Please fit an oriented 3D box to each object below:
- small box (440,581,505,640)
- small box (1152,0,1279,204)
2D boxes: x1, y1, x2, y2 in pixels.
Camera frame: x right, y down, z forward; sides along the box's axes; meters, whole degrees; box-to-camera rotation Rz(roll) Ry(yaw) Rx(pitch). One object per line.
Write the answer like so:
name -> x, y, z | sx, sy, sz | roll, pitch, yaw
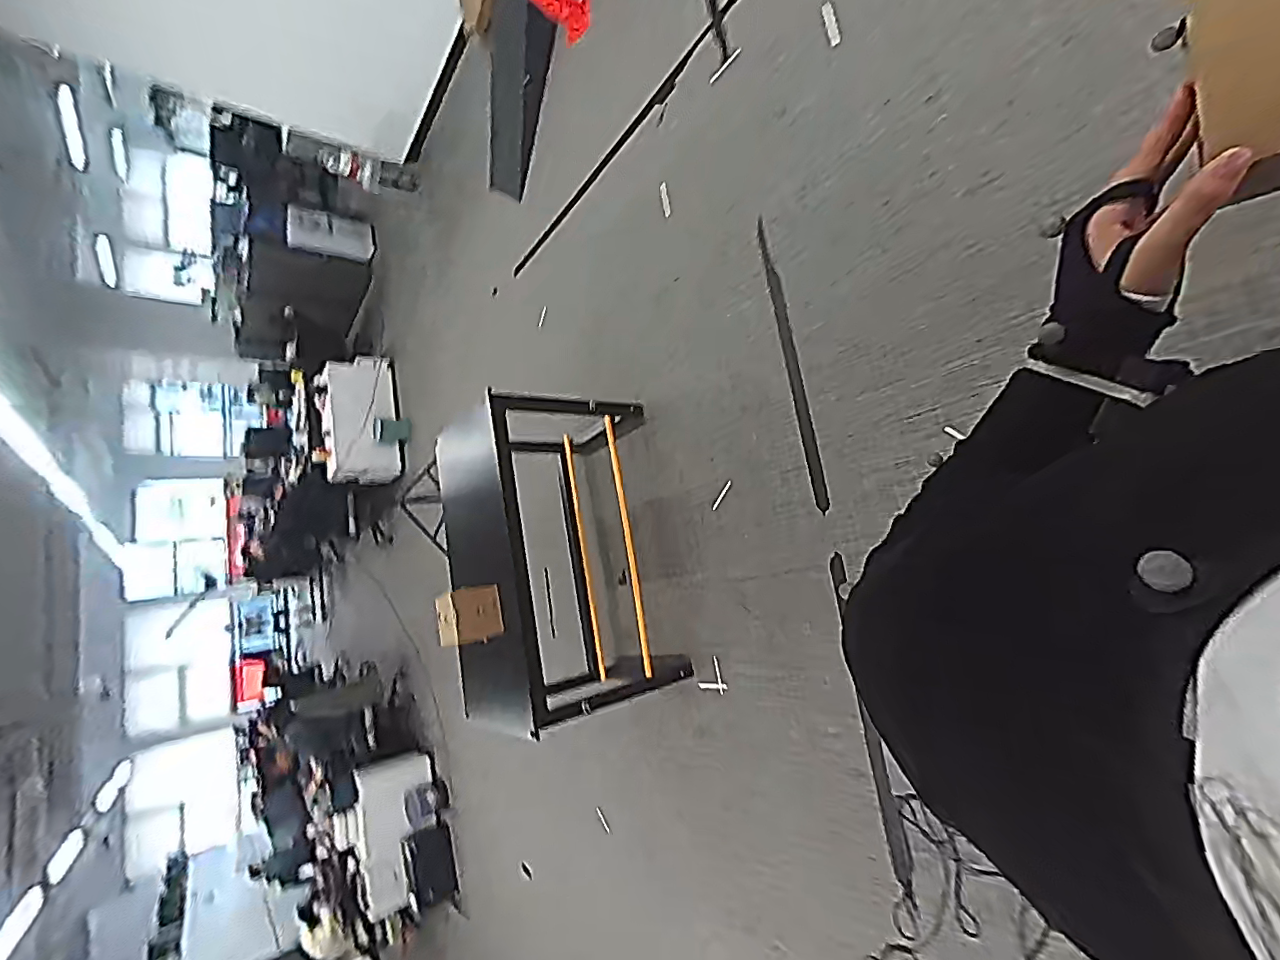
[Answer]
small box -> -0.591, 0.463, 1.922 | 0.179, 0.176, 0.168 | -28, 70, 48
small box -> 0.413, -0.289, 0.310 | 0.168, 0.176, 0.179 | -9, 95, 48
